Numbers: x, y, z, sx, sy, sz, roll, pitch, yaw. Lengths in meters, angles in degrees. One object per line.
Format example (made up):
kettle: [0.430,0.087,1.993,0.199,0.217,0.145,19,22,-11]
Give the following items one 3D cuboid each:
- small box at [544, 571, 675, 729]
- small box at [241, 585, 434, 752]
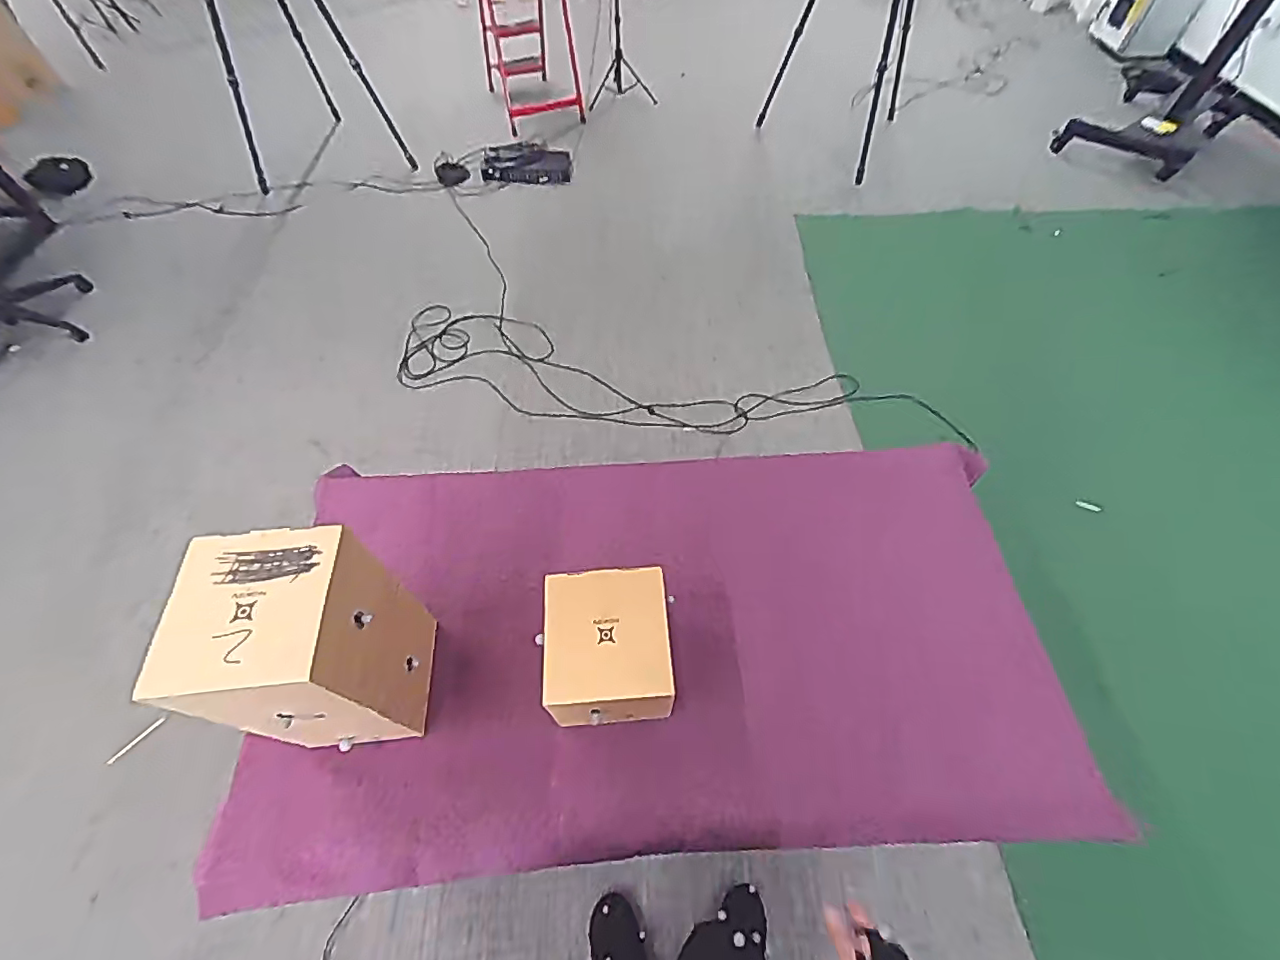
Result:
small box: [-0.041,0.249,0.774,0.168,0.176,0.179,-4,55,-3]
small box: [-0.401,0.266,0.756,0.168,0.176,0.179,-5,57,-3]
